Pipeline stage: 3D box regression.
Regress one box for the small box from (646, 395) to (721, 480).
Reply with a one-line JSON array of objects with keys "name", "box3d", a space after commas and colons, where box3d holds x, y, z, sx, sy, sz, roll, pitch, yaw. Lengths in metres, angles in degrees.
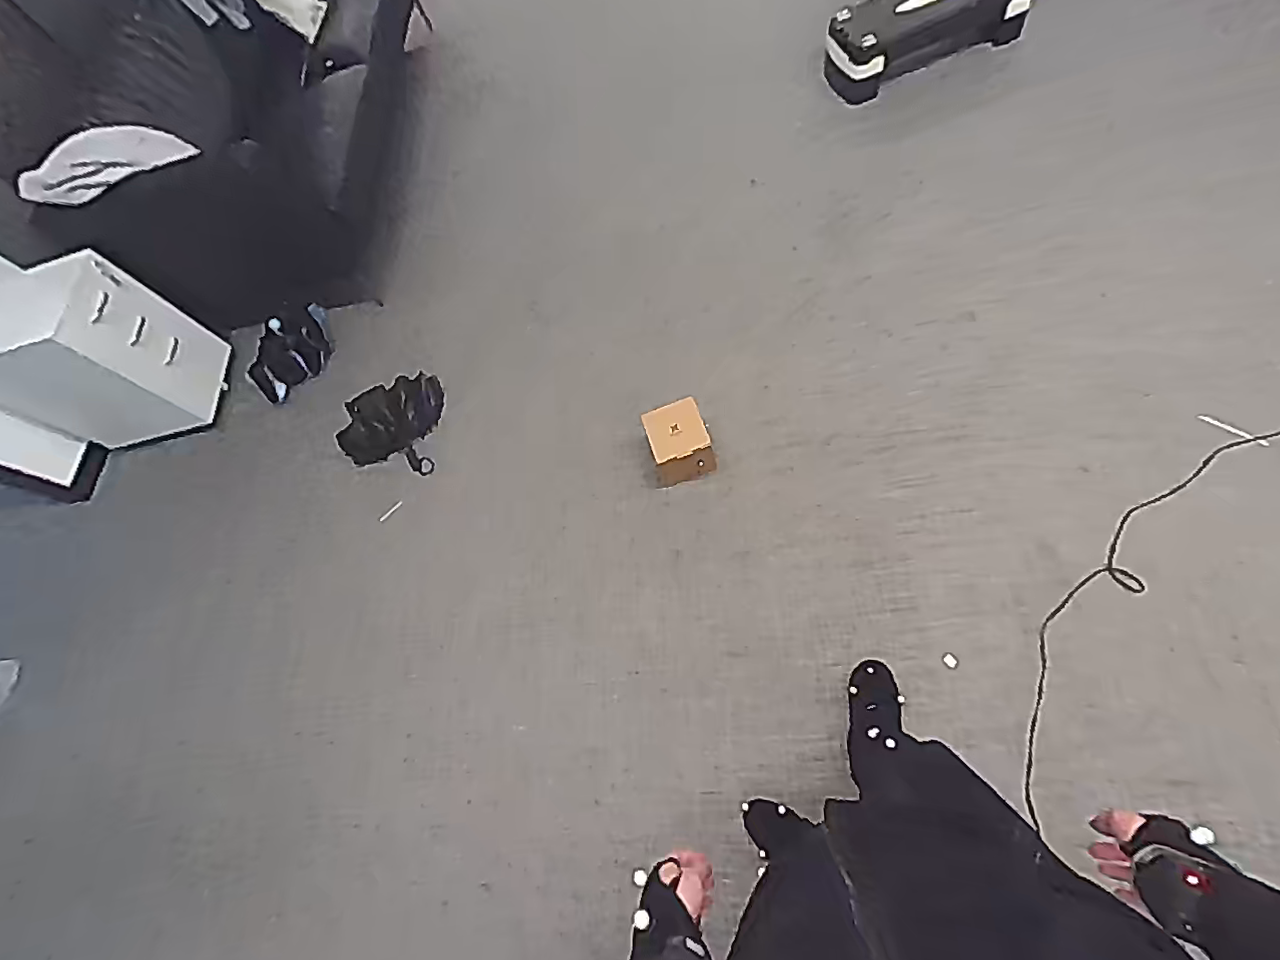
[{"name": "small box", "box3d": [0.135, -0.117, 1.617, 0.168, 0.176, 0.179, -21, 62, 5]}]
